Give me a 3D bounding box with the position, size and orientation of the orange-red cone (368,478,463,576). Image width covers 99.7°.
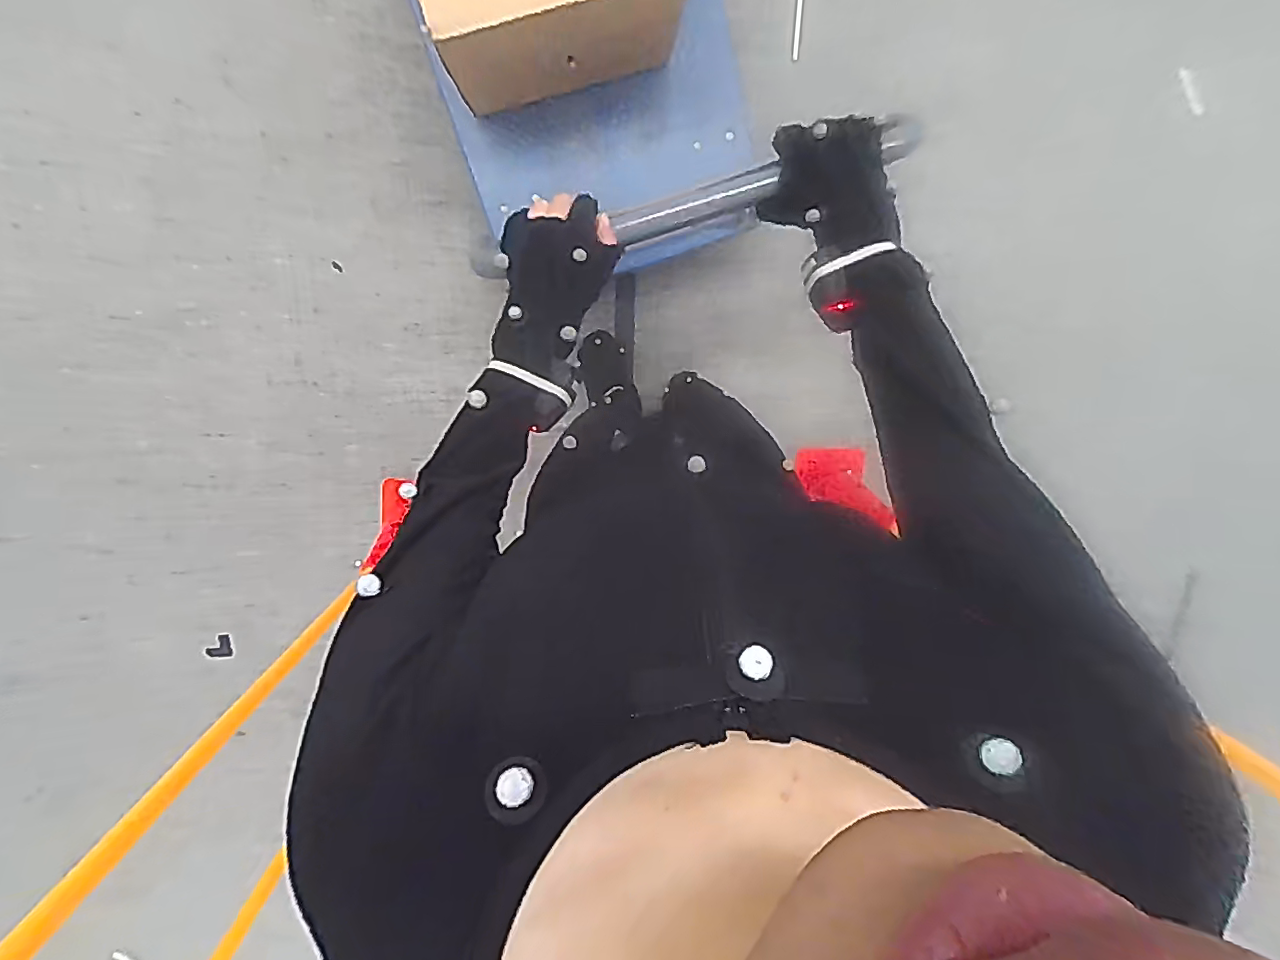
[{"bbox_3d":[-0.570,0.140,1.300,0.198,0.360,0.199,7,103,-7],"label":"orange-red cone"}]

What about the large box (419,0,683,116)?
[{"bbox_3d":[-0.163,-0.876,0.897,0.408,0.320,0.320,-16,107,1],"label":"large box"}]

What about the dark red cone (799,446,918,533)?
[{"bbox_3d":[0.560,0.048,1.347,0.201,0.394,0.202,-1,106,-6],"label":"dark red cone"}]
